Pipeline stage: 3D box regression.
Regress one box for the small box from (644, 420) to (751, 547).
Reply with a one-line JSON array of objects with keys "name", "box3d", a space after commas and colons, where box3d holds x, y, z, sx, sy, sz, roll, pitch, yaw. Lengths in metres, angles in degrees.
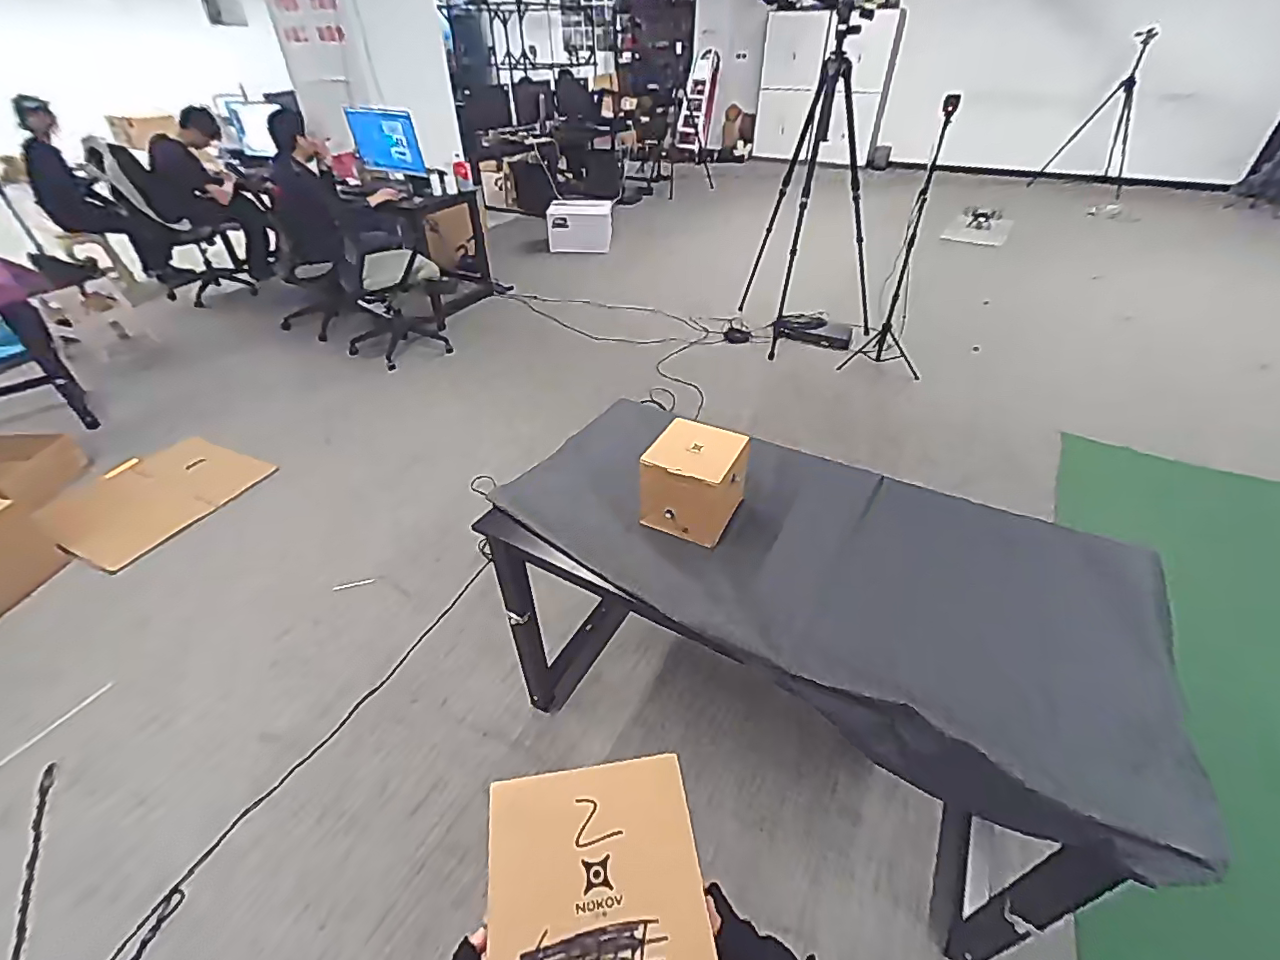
[{"name": "small box", "box3d": [0.114, 0.006, 1.124, 0.168, 0.176, 0.179, 19, 43, 21]}]
